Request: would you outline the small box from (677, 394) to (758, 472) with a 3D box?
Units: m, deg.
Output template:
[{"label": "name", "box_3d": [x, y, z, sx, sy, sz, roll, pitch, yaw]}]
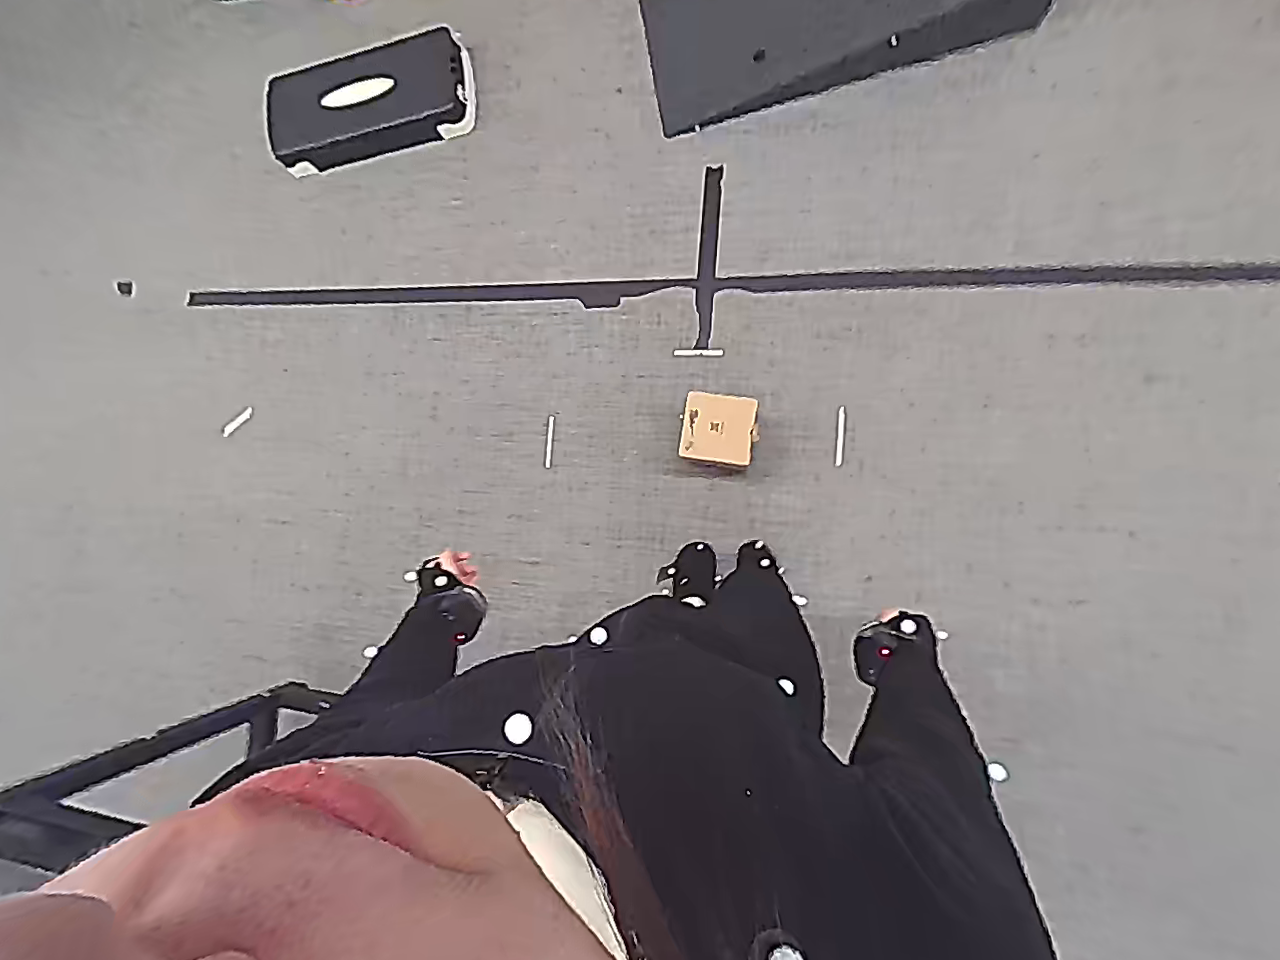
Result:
[{"label": "small box", "box_3d": [0.201, -0.114, 1.394, 0.179, 0.176, 0.168, 9, 88, 10]}]
